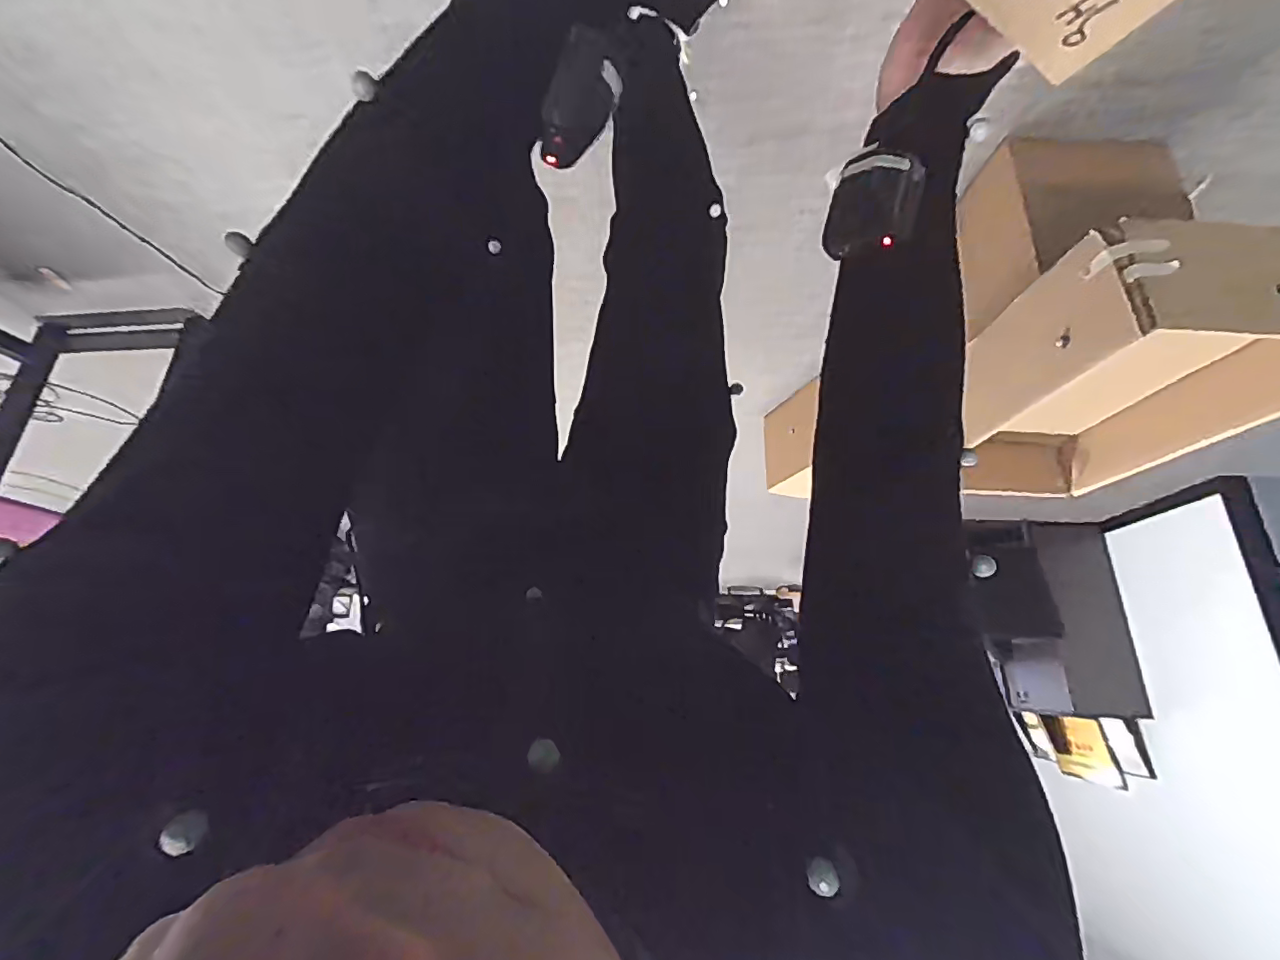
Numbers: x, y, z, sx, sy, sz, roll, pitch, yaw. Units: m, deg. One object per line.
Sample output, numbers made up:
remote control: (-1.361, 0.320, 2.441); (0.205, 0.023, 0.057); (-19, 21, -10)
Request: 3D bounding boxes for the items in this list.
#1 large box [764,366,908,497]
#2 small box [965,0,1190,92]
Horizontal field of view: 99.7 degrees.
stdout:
large box: (0.684, -0.157, 1.955); (0.320, 0.320, 0.408); (7, 159, -17)
small box: (0.219, -0.337, 0.231); (0.168, 0.176, 0.179); (12, 160, -27)
